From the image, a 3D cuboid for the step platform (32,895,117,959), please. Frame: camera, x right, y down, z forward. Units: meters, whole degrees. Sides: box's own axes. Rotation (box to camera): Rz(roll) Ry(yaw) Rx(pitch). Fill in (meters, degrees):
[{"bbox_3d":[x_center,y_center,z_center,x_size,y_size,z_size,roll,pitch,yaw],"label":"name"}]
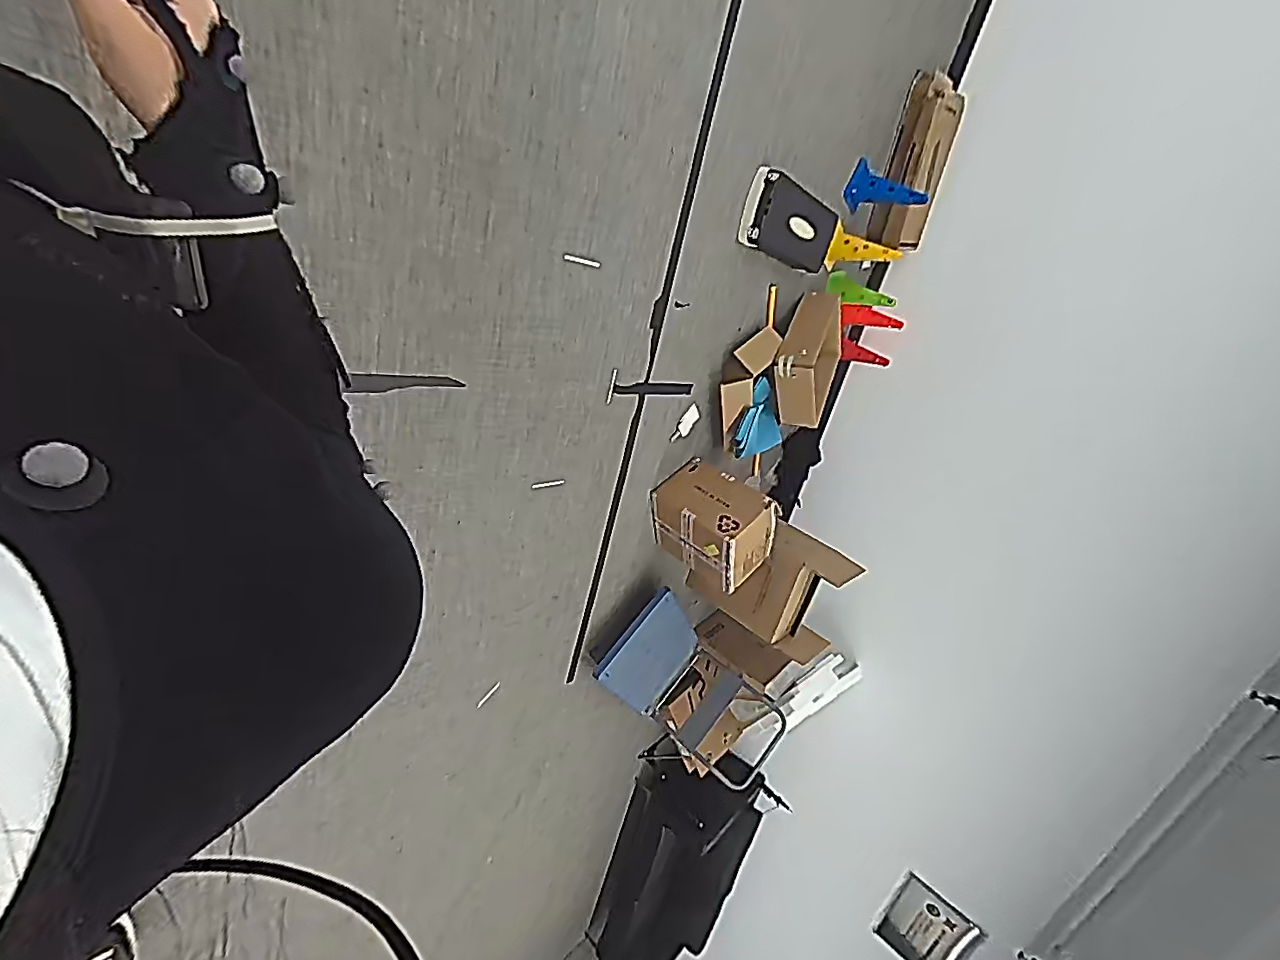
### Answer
[{"bbox_3d":[-1.619,1.287,1.185,0.684,0.204,0.286,-12,125,-49],"label":"step platform"}]
